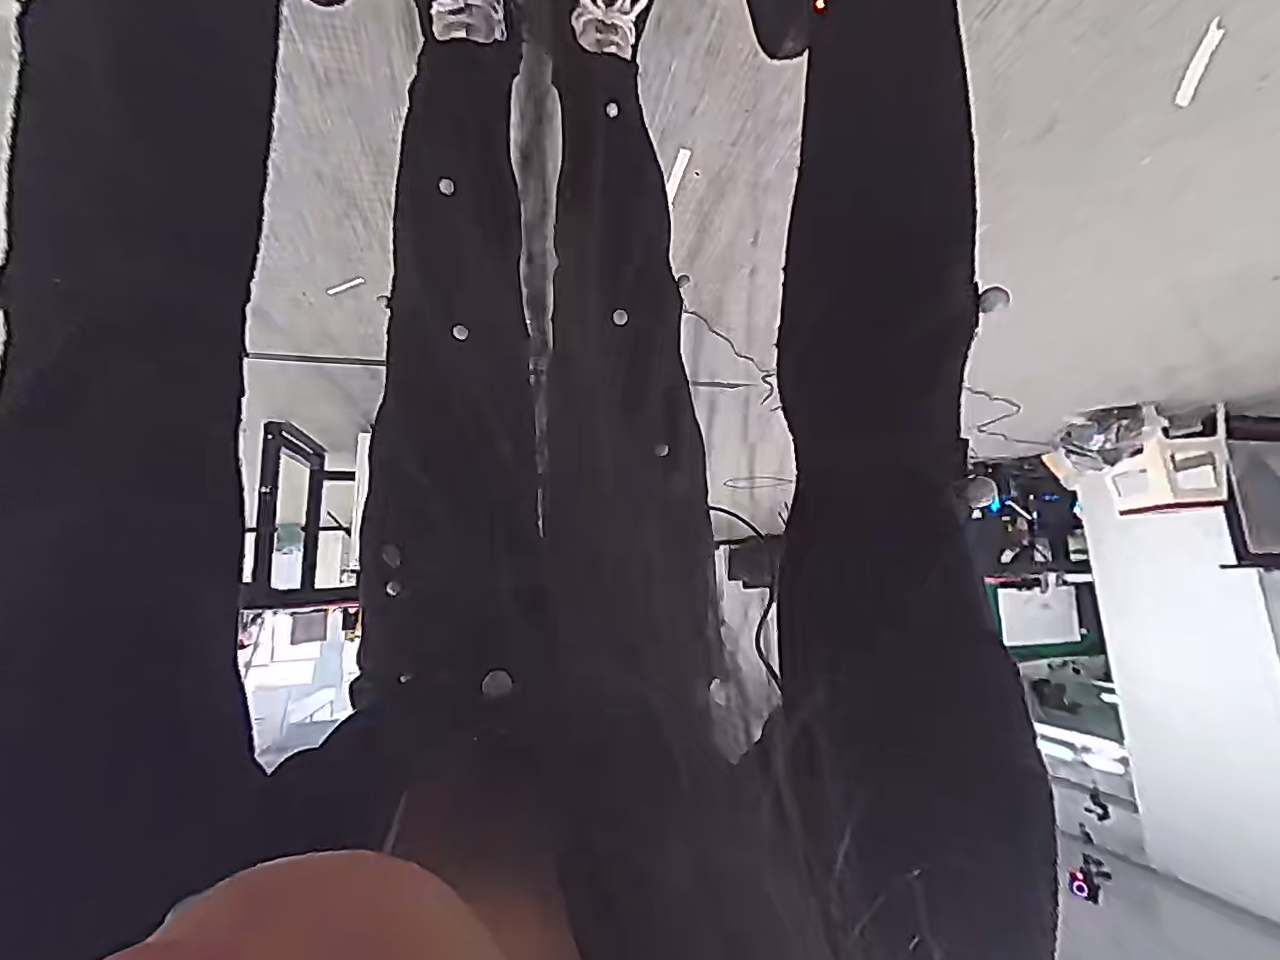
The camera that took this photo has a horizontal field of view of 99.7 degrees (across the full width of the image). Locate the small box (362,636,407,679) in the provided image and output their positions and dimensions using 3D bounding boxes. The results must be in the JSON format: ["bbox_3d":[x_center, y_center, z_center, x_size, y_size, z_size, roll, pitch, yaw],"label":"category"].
[{"bbox_3d":[-1.171,0.806,2.488,0.179,0.176,0.168,0,167,-20],"label":"small box"}]
